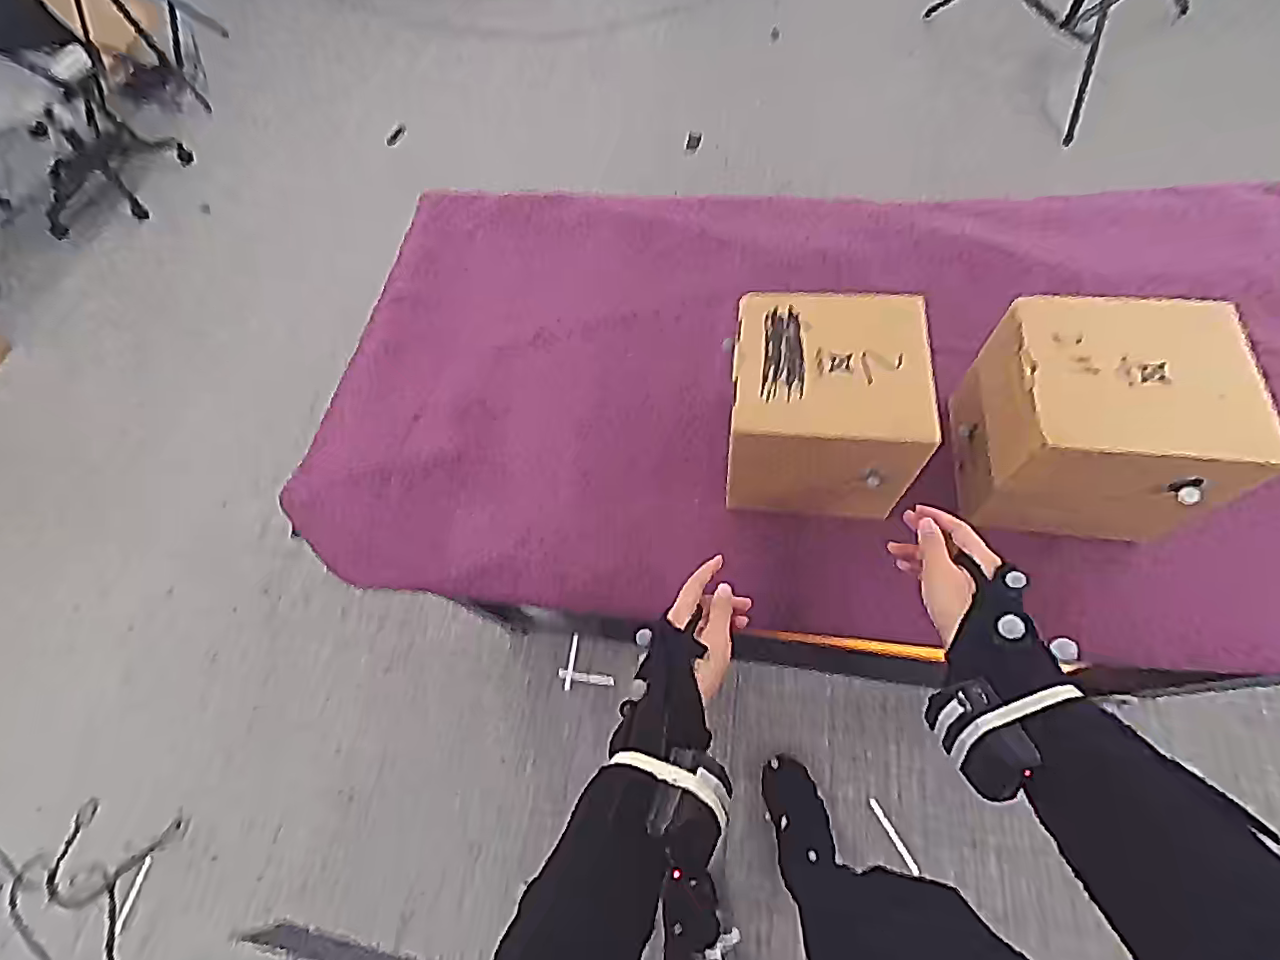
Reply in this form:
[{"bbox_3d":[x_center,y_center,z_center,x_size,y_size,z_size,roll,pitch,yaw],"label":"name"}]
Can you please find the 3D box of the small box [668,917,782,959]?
[{"bbox_3d":[0.141,0.872,0.925,0.179,0.176,0.168,2,63,-1],"label":"small box"}]
